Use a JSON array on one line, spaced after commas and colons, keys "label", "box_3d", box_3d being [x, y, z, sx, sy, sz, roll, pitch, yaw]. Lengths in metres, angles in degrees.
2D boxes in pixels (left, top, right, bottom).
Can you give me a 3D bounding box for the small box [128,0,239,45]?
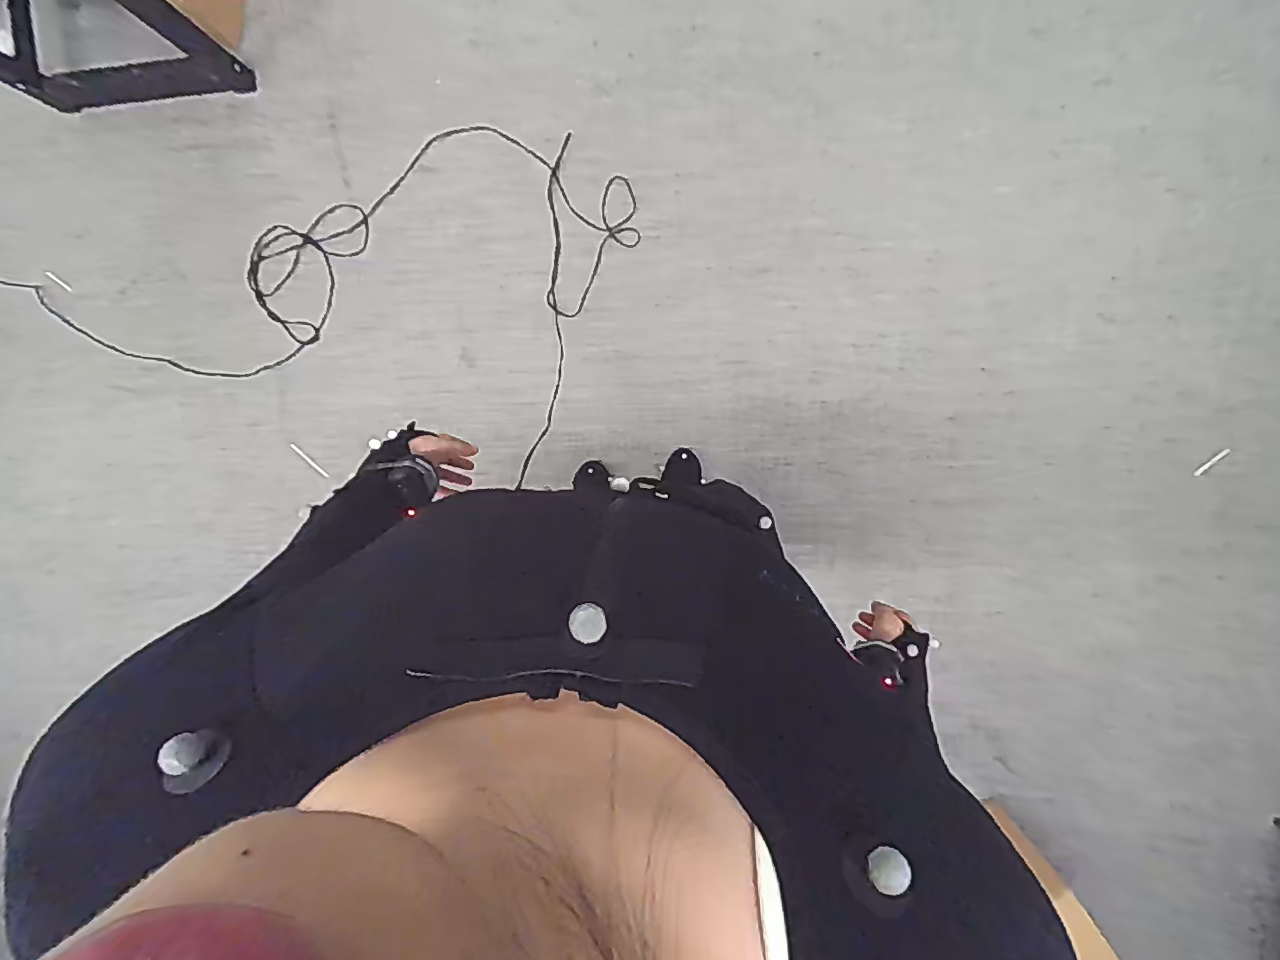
[{"label": "small box", "box_3d": [-1.147, -1.243, 1.356, 0.168, 0.176, 0.179, 10, 98, 3]}]
